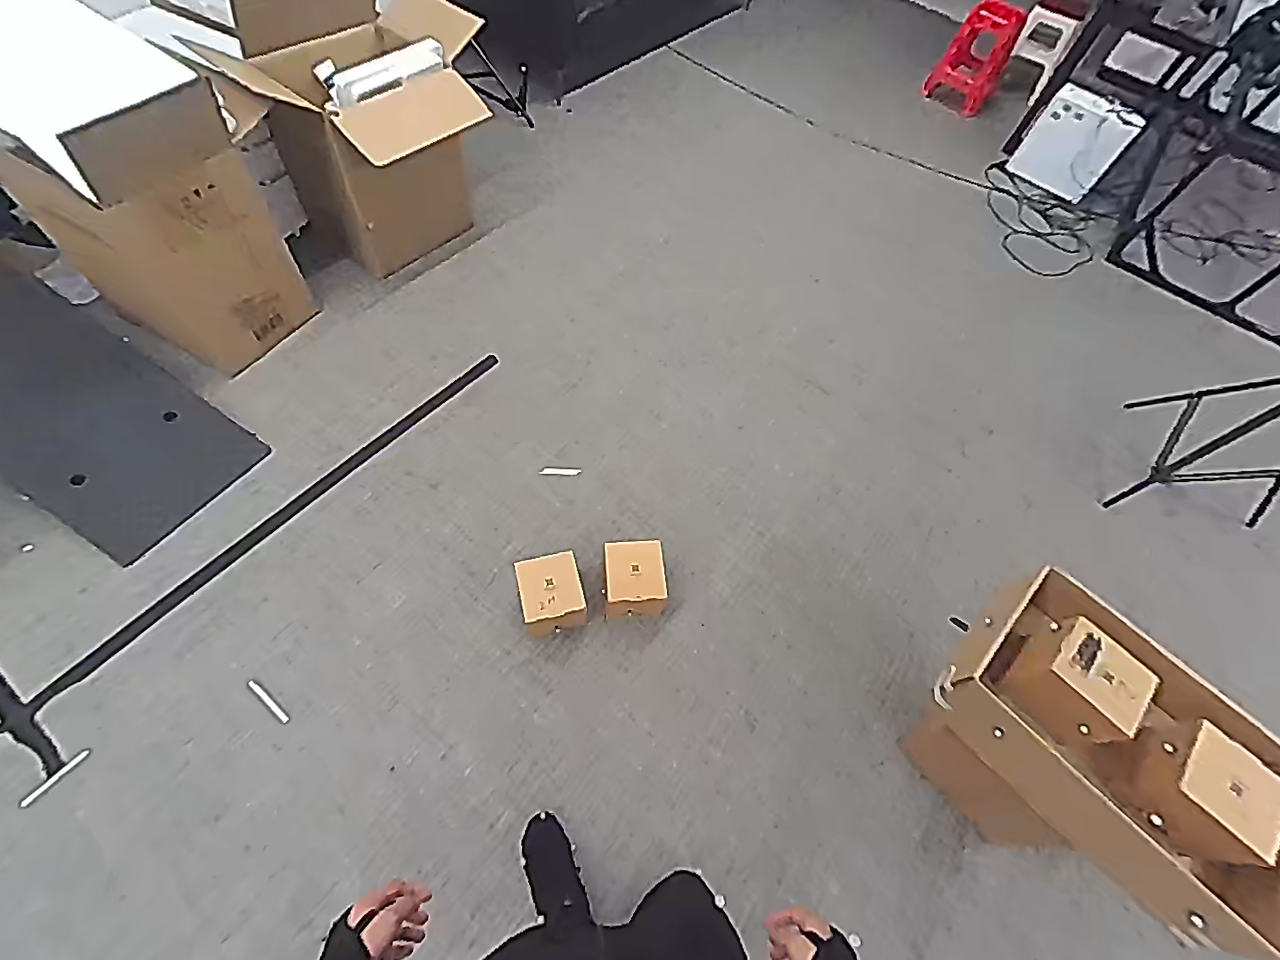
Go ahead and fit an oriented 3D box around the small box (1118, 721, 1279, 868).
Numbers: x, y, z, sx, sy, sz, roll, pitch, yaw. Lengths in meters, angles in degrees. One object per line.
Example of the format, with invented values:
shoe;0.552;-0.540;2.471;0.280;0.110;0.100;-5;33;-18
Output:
small box;1.091;0.607;1.048;0.179;0.176;0.168;-36;68;-28

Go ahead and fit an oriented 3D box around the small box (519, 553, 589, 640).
small box;-0.245;0.332;1.533;0.168;0.176;0.179;-11;62;-13

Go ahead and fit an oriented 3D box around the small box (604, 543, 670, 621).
small box;-0.015;0.301;1.585;0.168;0.176;0.179;-2;61;-9
